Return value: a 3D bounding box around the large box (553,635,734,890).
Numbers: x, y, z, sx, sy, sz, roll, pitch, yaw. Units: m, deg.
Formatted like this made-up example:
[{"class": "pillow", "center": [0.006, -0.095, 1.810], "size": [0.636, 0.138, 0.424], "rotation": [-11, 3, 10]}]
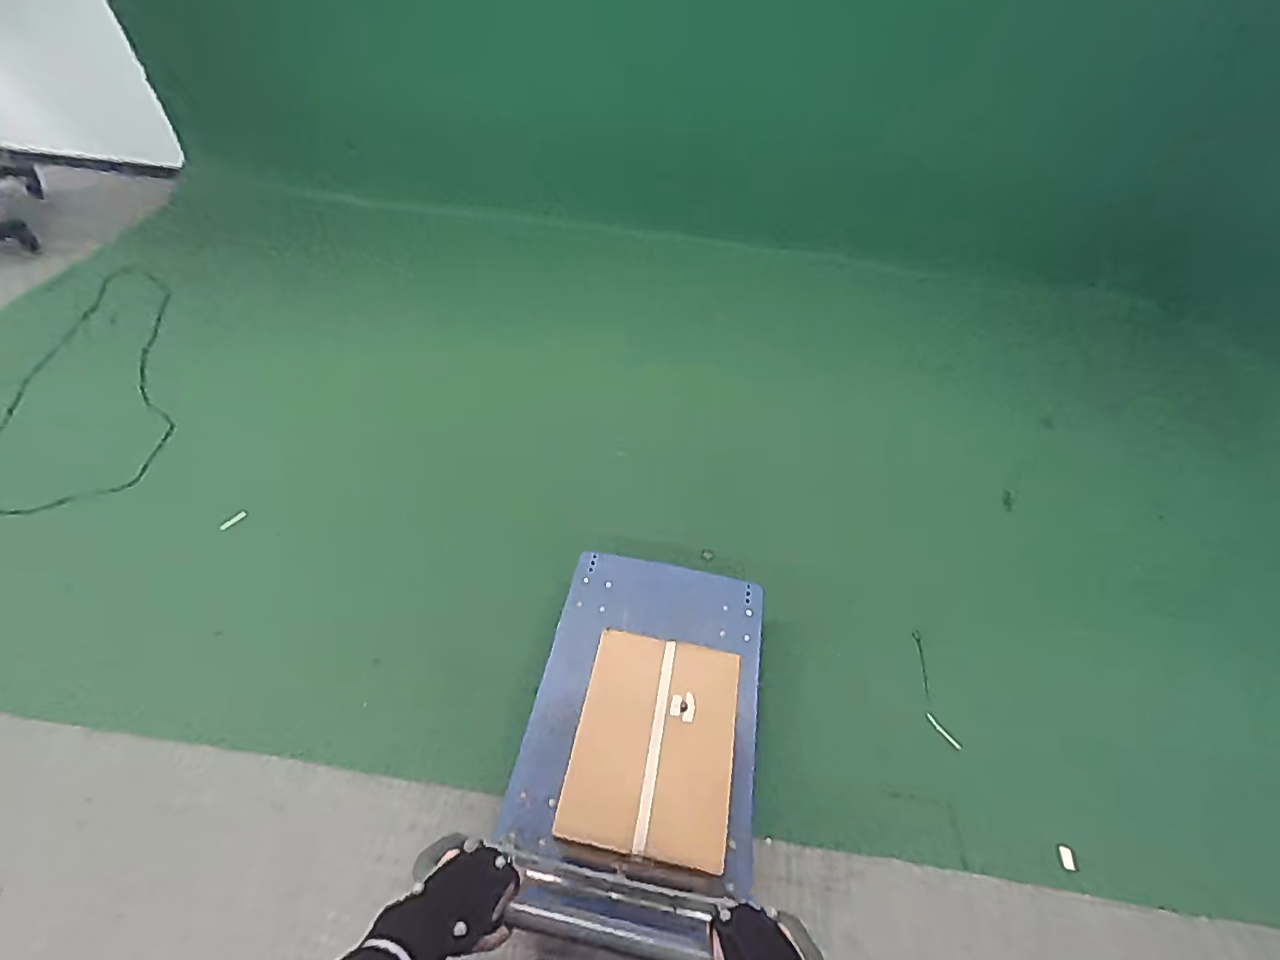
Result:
[{"class": "large box", "center": [0.018, 0.618, 1.191], "size": [0.320, 0.320, 0.408], "rotation": [10, 49, 4]}]
